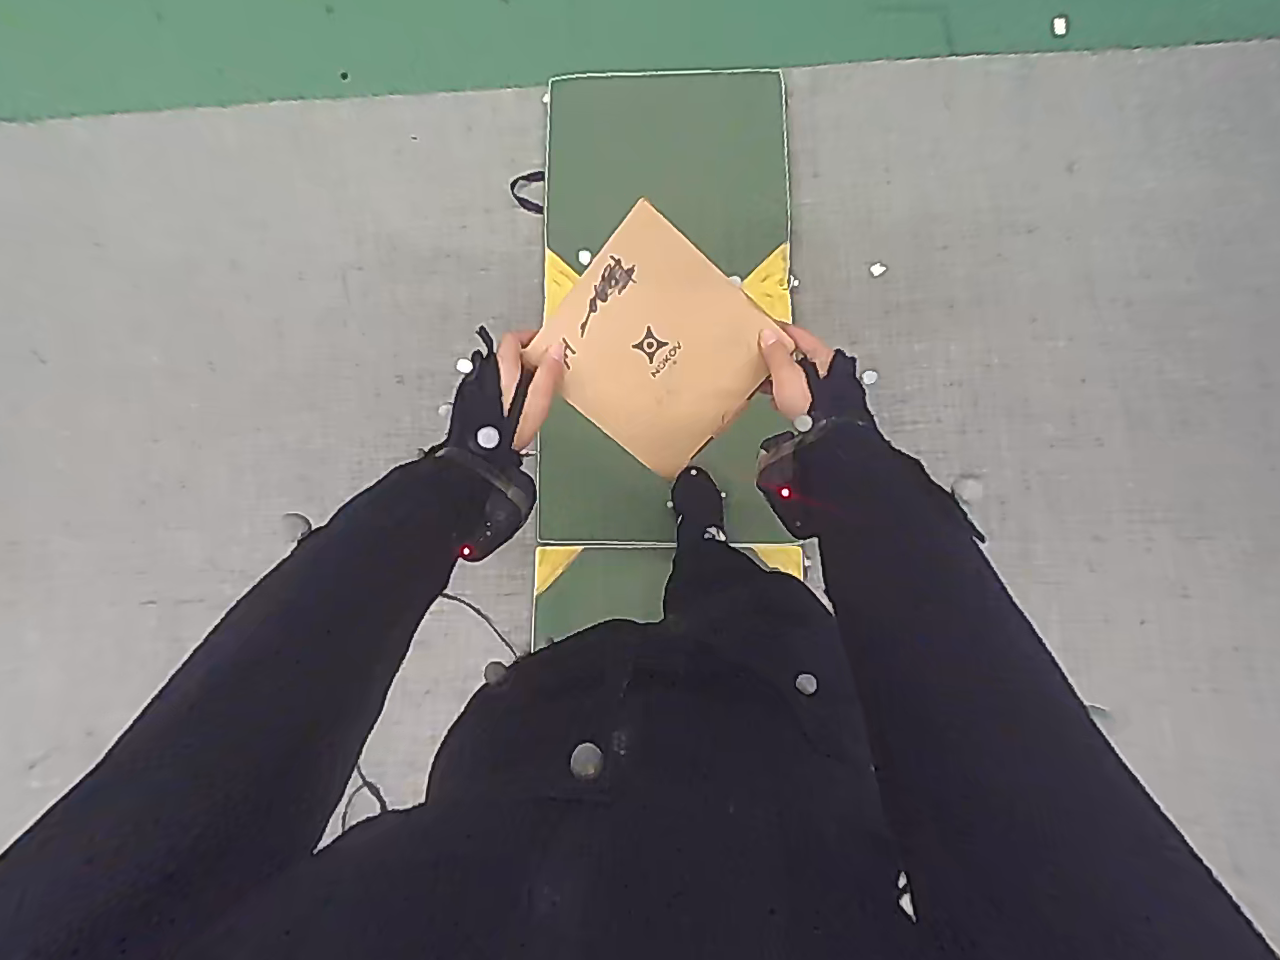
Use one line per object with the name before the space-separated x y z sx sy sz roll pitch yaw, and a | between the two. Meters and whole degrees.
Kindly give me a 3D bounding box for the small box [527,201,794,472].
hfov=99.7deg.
small box | 0.020 -0.142 0.543 0.179 0.176 0.168 40 106 -11
